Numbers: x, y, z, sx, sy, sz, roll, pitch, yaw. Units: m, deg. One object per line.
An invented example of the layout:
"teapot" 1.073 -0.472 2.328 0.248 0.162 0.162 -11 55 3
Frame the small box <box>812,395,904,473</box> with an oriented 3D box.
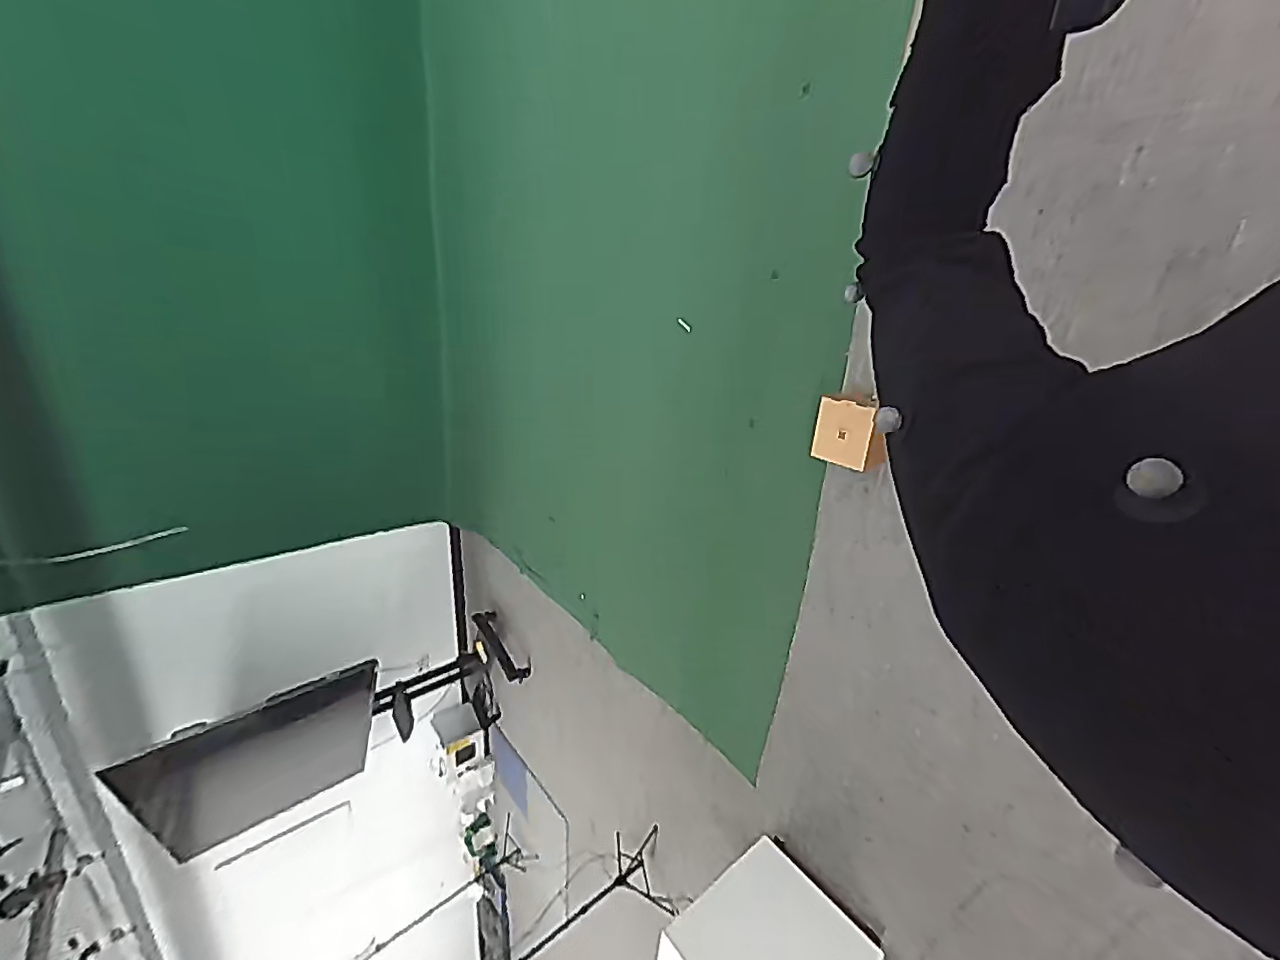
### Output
"small box" 0.611 -0.134 1.514 0.168 0.176 0.179 25 117 45
